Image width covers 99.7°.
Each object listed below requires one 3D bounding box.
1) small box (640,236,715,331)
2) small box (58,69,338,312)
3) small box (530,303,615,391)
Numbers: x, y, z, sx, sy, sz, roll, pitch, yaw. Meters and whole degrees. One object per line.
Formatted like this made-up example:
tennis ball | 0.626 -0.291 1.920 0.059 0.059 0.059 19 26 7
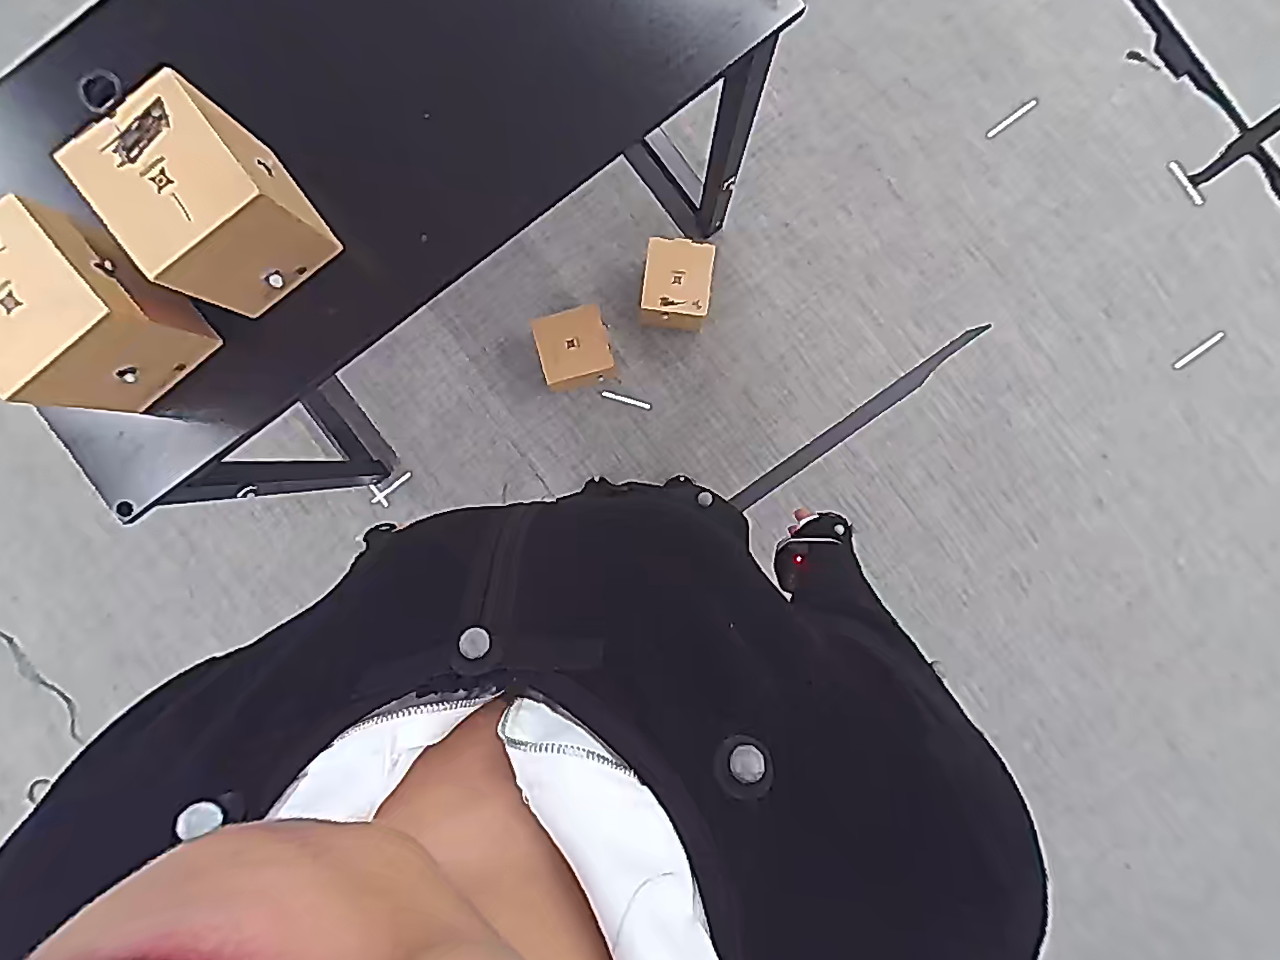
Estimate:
small box | 0.091 -0.499 1.395 0.168 0.176 0.179 7 93 1
small box | -0.534 -0.344 0.682 0.168 0.176 0.179 -37 92 2
small box | -0.167 -0.339 1.408 0.179 0.176 0.168 -15 91 2
